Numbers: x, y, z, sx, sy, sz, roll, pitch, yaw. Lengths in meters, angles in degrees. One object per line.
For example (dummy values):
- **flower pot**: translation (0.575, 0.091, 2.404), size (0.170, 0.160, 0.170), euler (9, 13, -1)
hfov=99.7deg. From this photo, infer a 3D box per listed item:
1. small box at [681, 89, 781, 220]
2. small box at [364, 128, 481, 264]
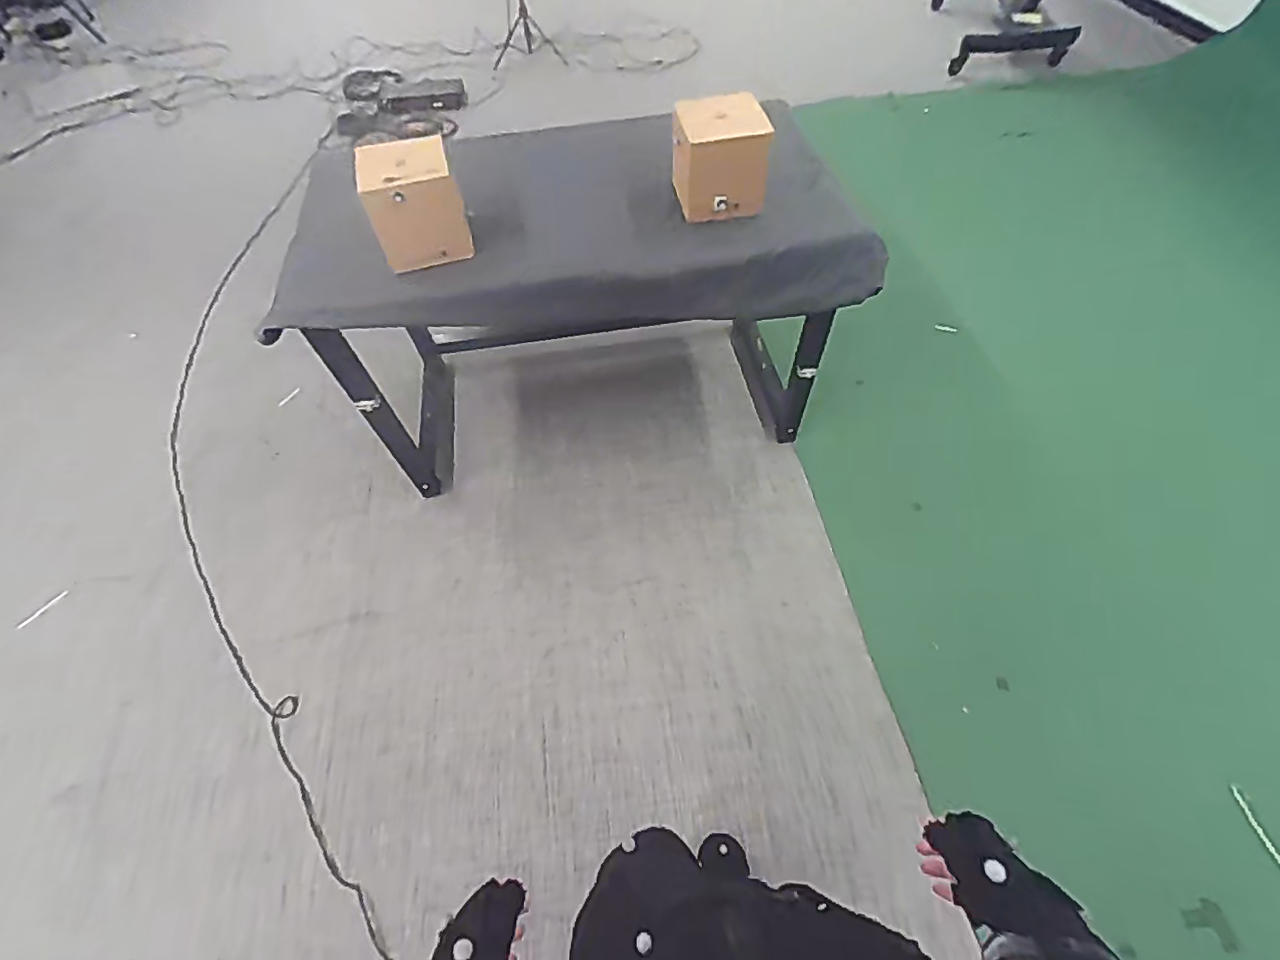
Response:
- **small box**: translation (0.179, -0.675, 1.125), size (0.168, 0.176, 0.179), euler (-9, 58, -1)
- **small box**: translation (-0.428, -0.563, 1.078), size (0.168, 0.176, 0.179), euler (-16, 56, -6)
